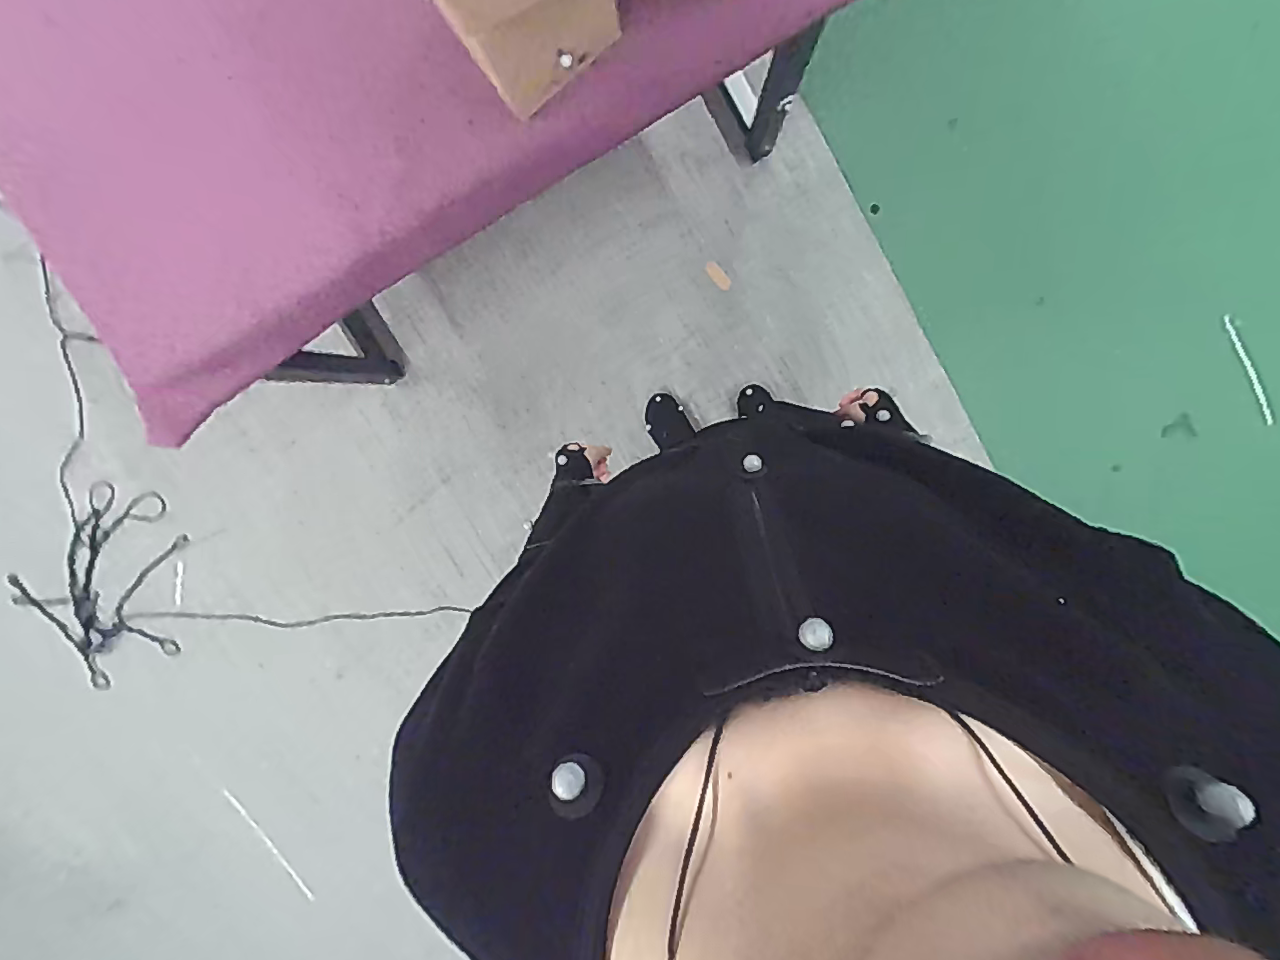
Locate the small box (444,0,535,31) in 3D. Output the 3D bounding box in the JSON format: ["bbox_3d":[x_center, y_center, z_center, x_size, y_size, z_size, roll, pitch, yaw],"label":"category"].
[{"bbox_3d":[-0.131,-0.538,0.446,0.179,0.176,0.168,-21,96,8],"label":"small box"}]

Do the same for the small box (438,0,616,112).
[{"bbox_3d":[-0.146,-0.574,0.608,0.168,0.176,0.179,-36,95,9],"label":"small box"}]
